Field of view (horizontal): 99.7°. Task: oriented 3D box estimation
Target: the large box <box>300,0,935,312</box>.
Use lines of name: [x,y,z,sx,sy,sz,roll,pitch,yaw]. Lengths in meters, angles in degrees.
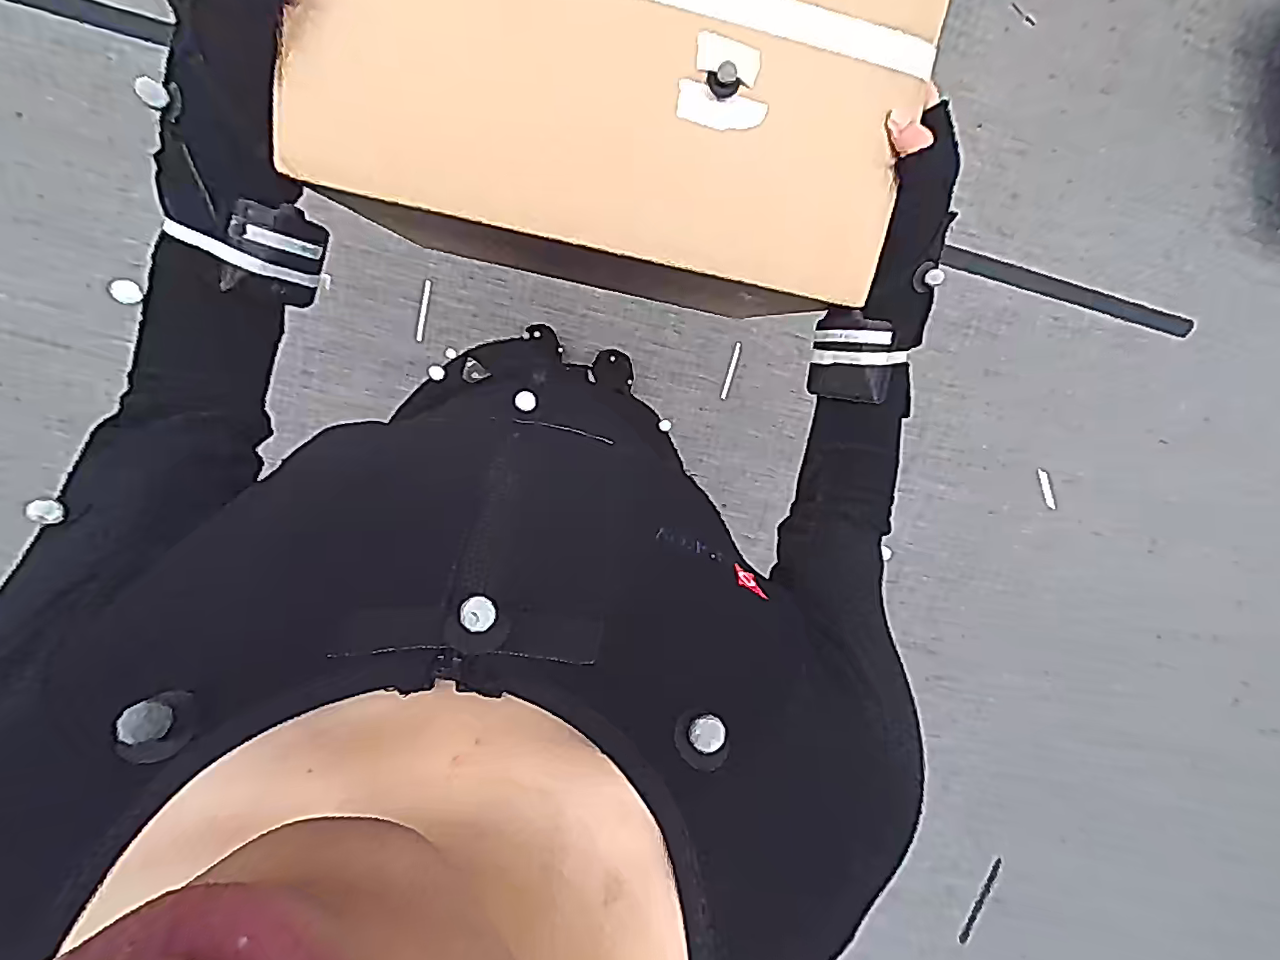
large box: [-0.019,-0.353,0.490,0.408,0.320,0.320,9,104,-9]
